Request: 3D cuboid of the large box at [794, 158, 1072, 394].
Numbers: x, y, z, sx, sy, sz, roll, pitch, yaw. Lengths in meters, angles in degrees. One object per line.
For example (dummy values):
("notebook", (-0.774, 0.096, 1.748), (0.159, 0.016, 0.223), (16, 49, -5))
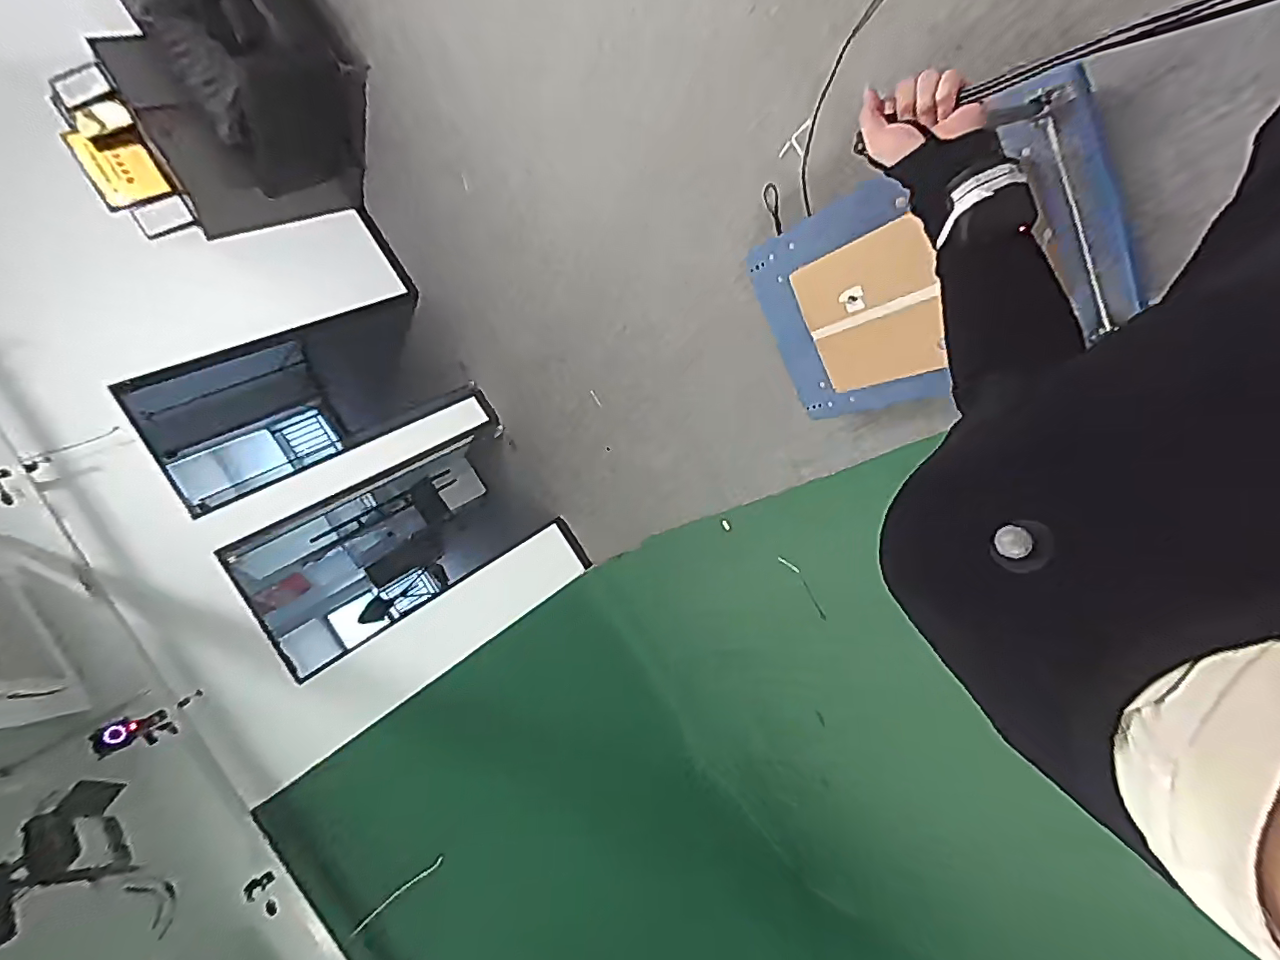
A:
("large box", (0.638, -0.432, 1.205), (0.408, 0.320, 0.320), (-8, 111, 58))
